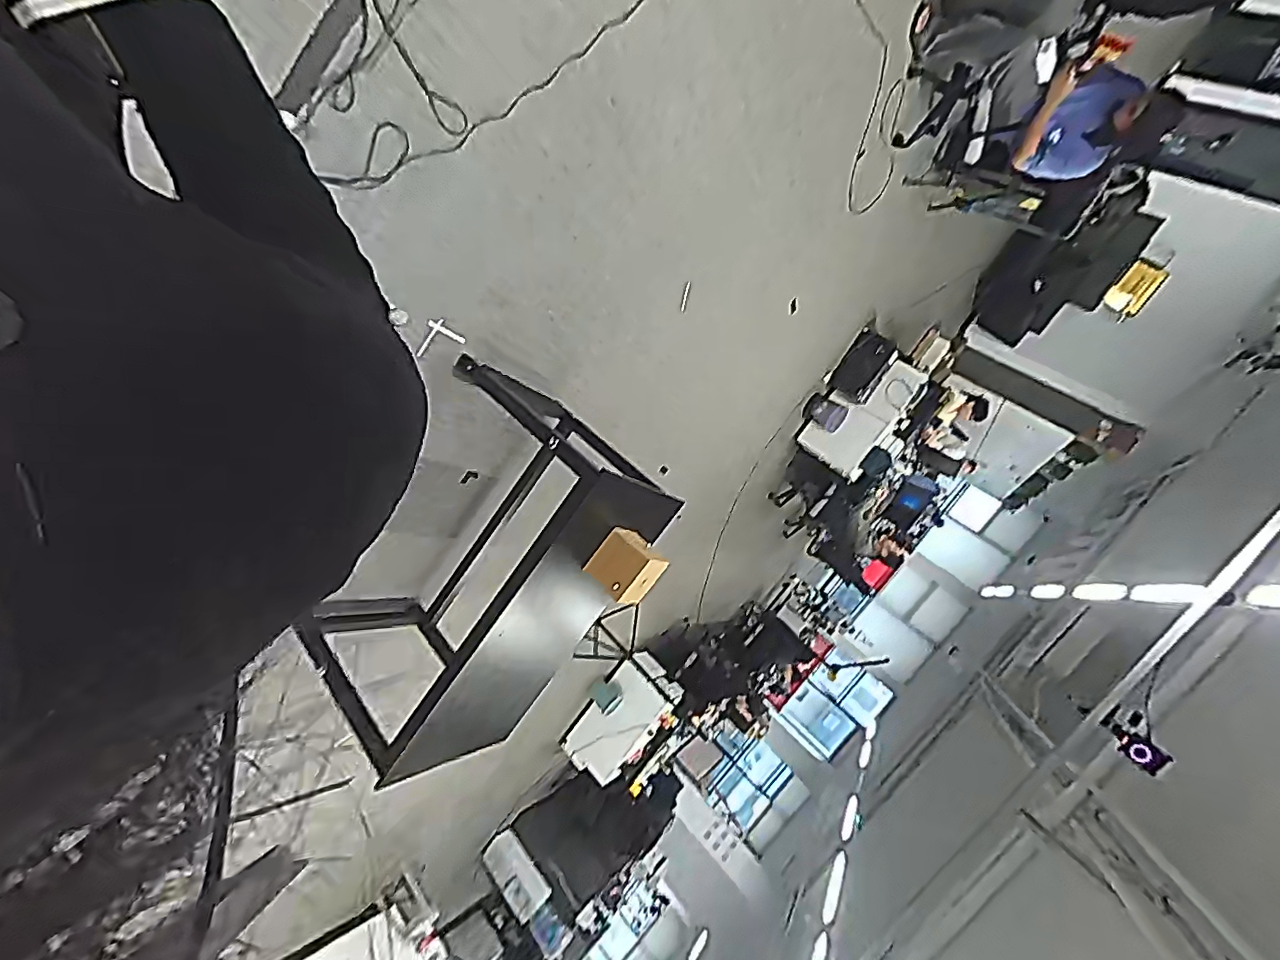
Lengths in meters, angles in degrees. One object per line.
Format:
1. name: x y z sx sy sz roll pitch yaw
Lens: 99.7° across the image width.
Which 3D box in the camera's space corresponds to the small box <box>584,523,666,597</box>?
1. small box: -0.051 0.262 1.773 0.179 0.176 0.168 -53 153 6
